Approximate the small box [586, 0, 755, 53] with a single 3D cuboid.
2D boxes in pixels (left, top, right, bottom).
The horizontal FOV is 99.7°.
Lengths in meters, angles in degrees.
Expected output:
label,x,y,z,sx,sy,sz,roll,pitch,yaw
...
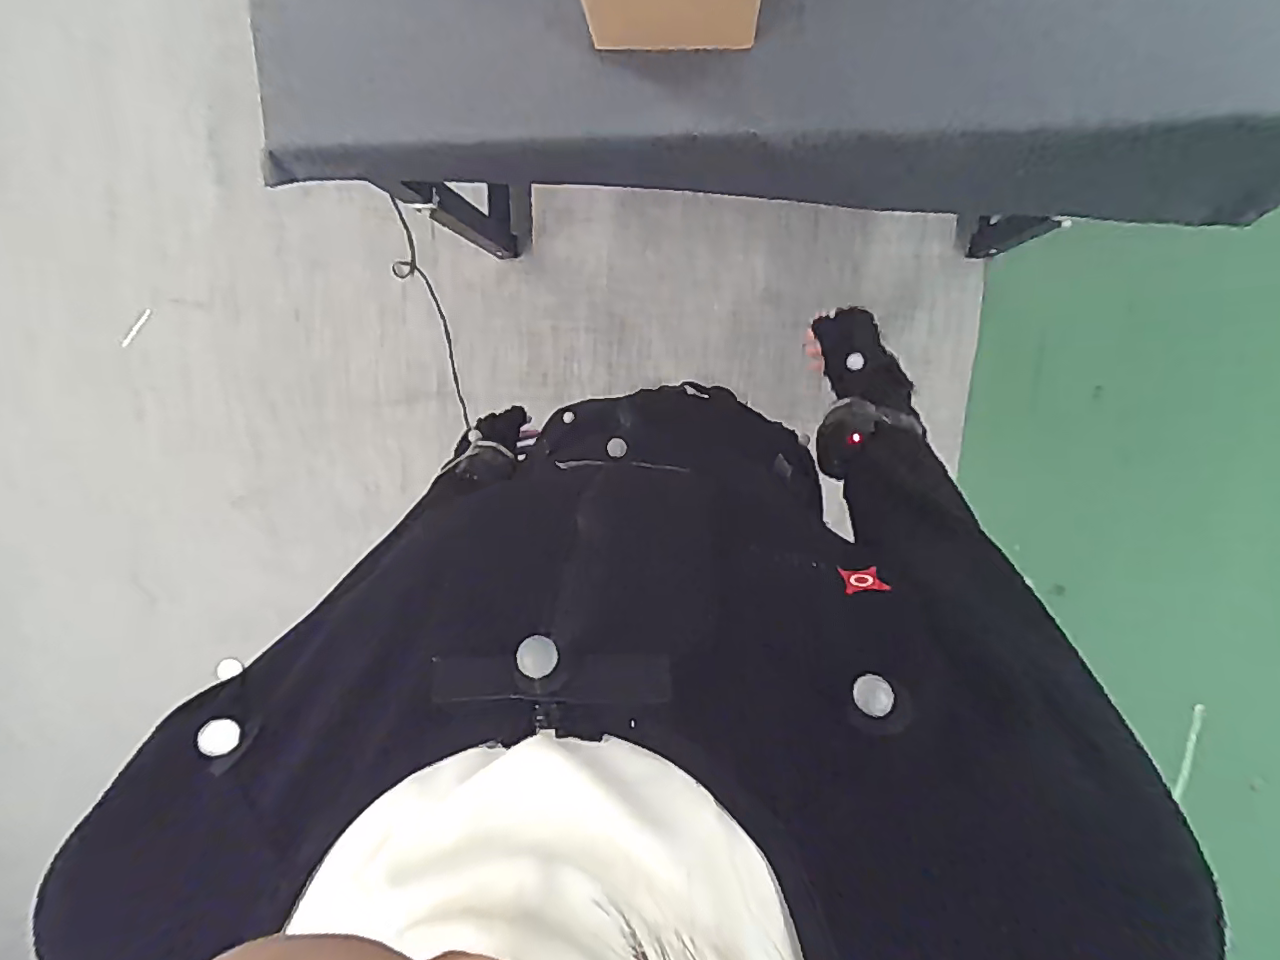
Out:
label,x,y,z,sx,sy,sz,roll,pitch,yaw
small box,0.031,-0.551,0.523,0.179,0.176,0.168,4,101,5
